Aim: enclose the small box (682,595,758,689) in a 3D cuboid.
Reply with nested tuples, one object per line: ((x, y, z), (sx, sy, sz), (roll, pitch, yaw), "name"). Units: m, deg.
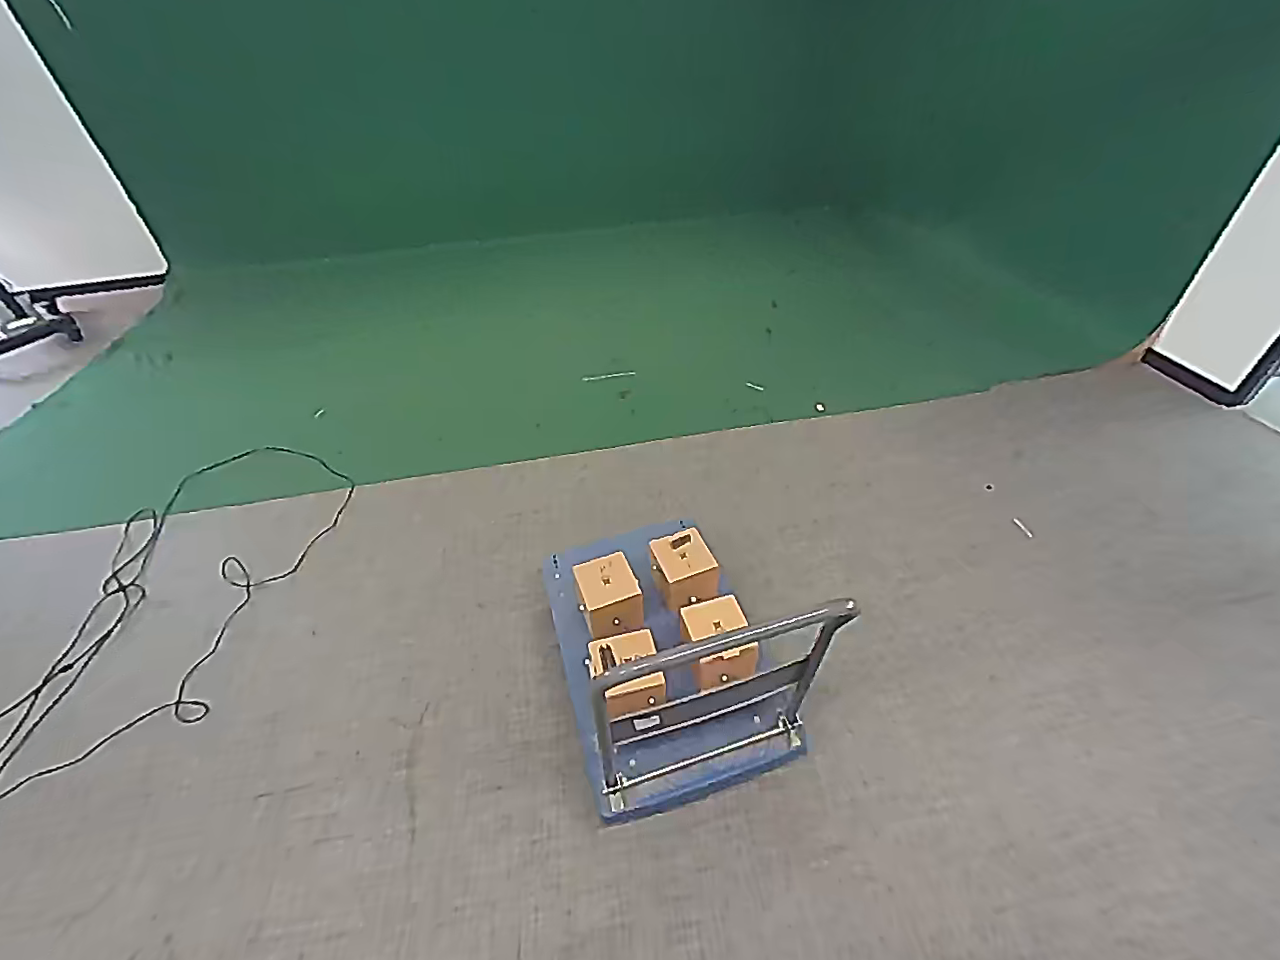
((0.221, 0.465, 1.554), (0.168, 0.176, 0.179), (-13, 44, -10), "small box")

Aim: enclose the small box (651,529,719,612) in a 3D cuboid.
((0.140, 0.292, 1.745), (0.168, 0.176, 0.179), (-17, 45, -13), "small box")

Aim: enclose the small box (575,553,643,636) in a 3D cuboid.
((-0.094, 0.362, 1.686), (0.168, 0.176, 0.179), (-16, 44, -14), "small box")
